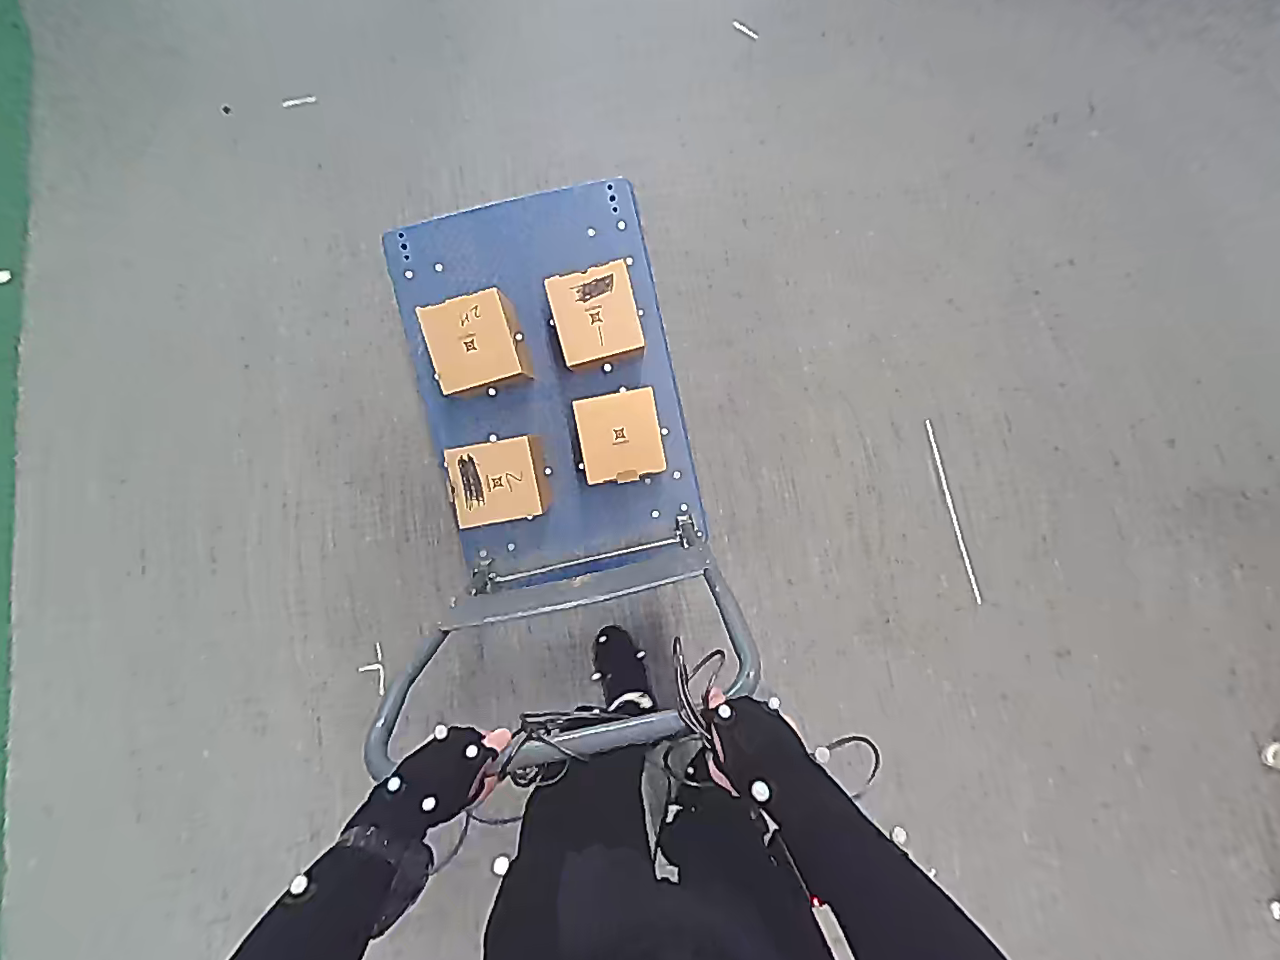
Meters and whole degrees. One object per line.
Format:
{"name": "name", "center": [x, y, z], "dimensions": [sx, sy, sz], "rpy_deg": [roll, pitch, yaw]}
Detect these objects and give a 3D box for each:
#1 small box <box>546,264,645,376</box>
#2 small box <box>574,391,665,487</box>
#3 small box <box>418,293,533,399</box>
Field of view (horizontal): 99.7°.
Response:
{"name": "small box", "center": [-0.090, -0.330, 1.148], "dimensions": [0.168, 0.176, 0.179], "rpy_deg": [-14, 96, 1]}
{"name": "small box", "center": [-0.044, -0.089, 1.173], "dimensions": [0.168, 0.176, 0.179], "rpy_deg": [-10, 96, 0]}
{"name": "small box", "center": [-0.339, -0.274, 1.152], "dimensions": [0.168, 0.176, 0.179], "rpy_deg": [-15, 95, 0]}
